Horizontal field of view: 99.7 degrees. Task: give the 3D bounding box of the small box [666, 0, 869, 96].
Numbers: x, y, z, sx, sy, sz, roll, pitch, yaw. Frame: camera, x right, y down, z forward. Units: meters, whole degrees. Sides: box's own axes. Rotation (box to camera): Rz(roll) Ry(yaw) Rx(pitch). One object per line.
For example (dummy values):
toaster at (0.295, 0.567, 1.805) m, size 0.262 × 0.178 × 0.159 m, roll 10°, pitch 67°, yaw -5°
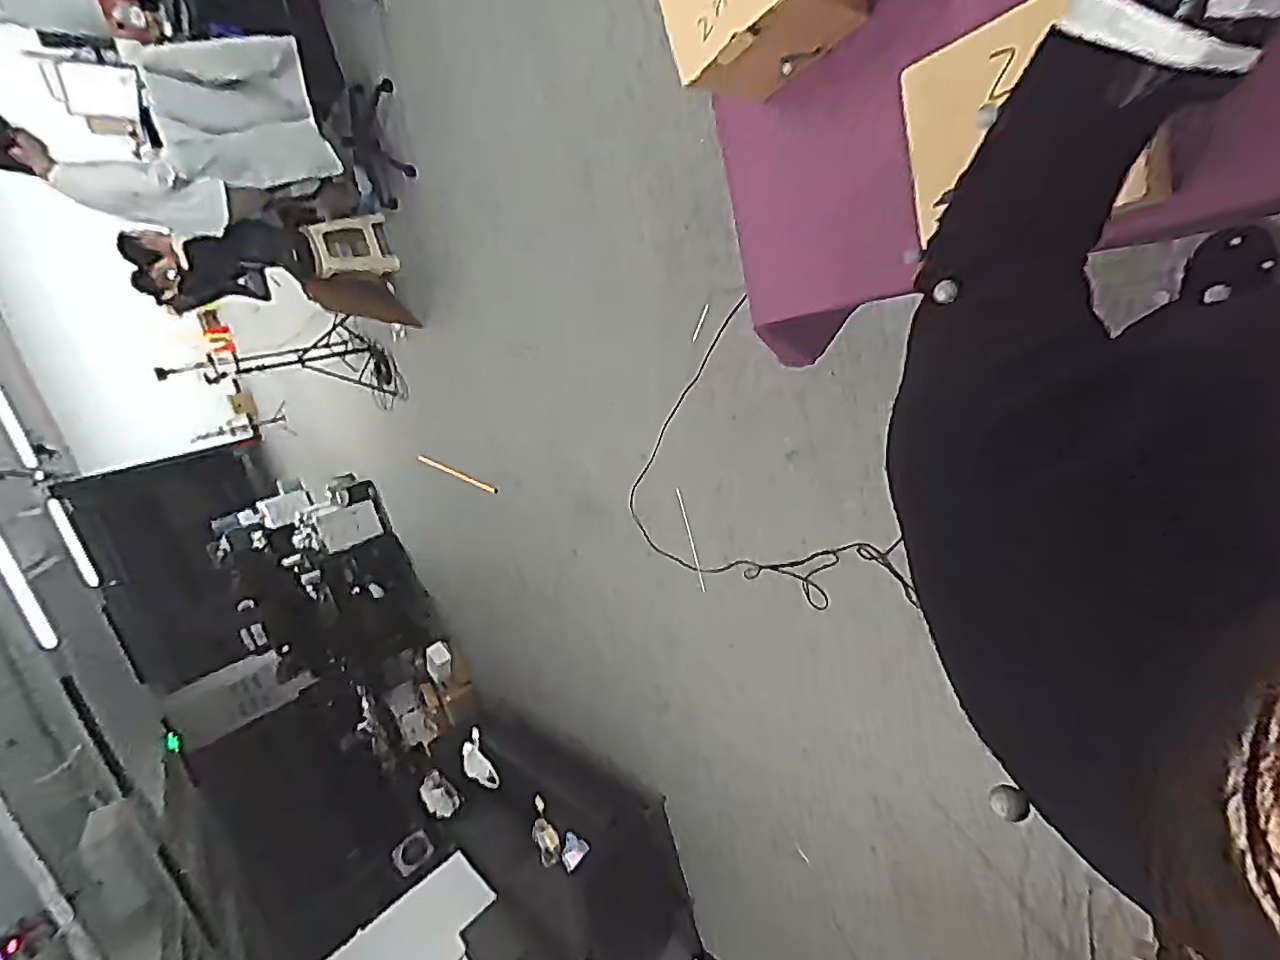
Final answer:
small box at (0.145, -0.599, 0.644) m, size 0.168 × 0.176 × 0.179 m, roll -6°, pitch 105°, yaw 51°
